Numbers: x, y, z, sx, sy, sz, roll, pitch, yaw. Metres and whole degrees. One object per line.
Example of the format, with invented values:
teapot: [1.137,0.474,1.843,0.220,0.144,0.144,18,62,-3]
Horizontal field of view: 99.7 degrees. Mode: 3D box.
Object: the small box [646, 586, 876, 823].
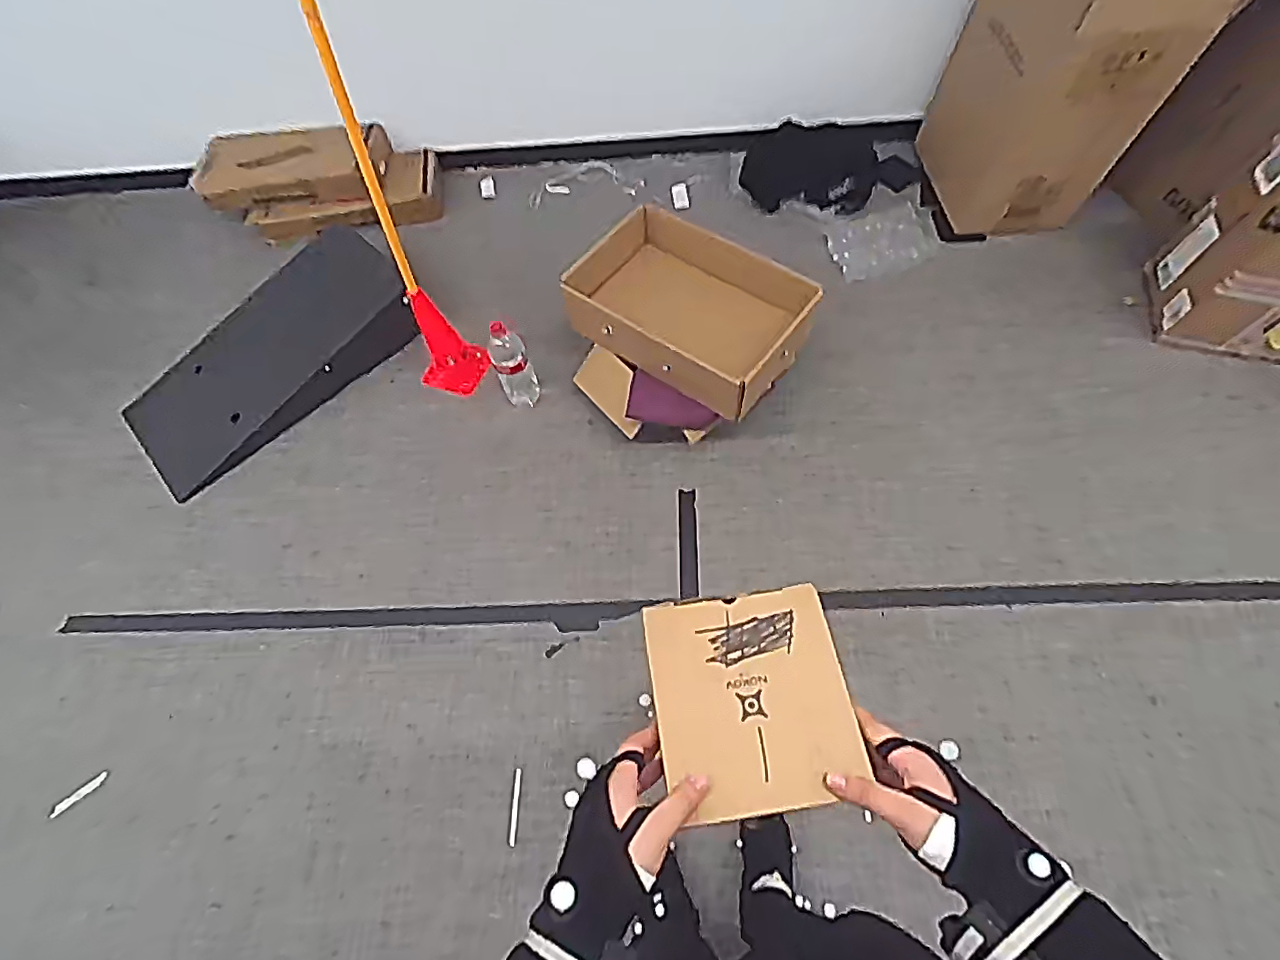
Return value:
small box: [0.097,0.222,0.533,0.168,0.176,0.179,-7,62,-3]
